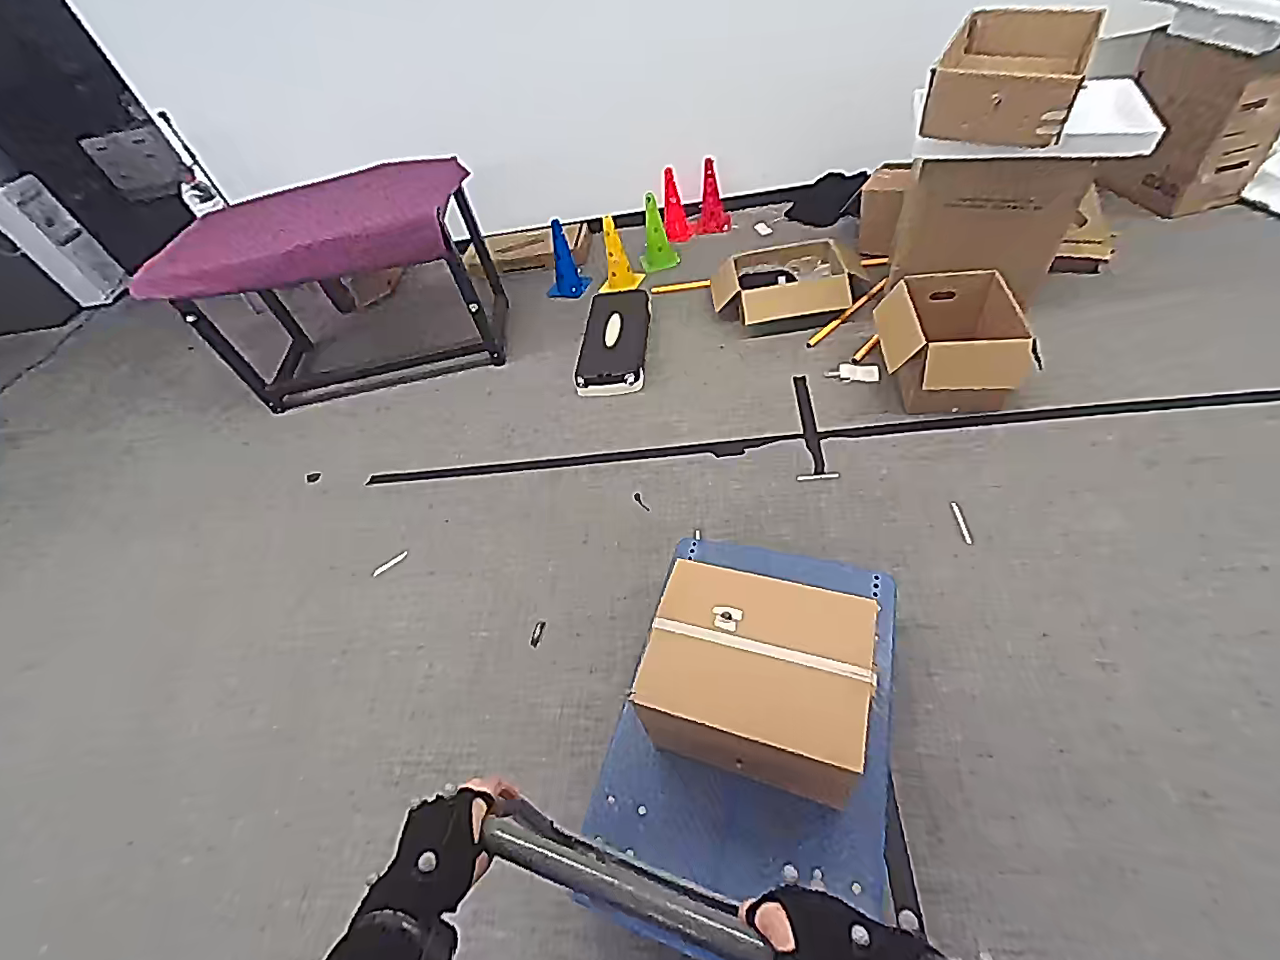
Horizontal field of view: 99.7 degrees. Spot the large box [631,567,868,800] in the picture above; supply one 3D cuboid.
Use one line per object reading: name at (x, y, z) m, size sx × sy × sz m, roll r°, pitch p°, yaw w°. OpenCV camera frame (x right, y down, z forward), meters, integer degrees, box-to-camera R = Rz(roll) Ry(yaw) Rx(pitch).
large box at (0.243, 0.423, 1.139) m, size 0.408 × 0.320 × 0.320 m, roll 8°, pitch 51°, yaw 20°
